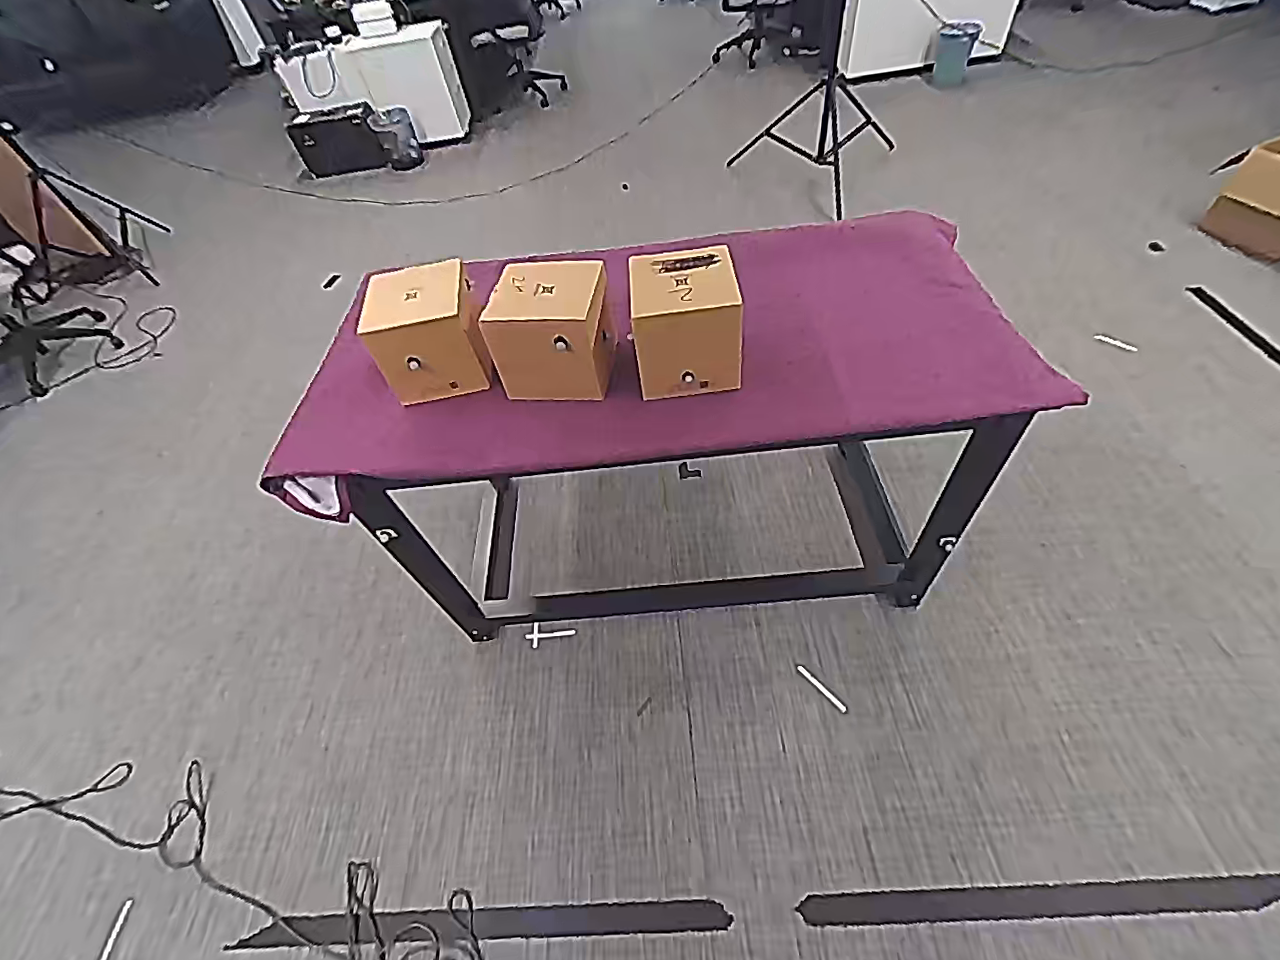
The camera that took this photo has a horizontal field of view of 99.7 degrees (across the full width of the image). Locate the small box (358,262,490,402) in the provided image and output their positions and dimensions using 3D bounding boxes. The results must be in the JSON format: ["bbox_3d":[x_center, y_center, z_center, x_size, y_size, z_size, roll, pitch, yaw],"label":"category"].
[{"bbox_3d":[-0.378,-0.260,0.980,0.168,0.176,0.179,-13,52,-1],"label":"small box"}]
